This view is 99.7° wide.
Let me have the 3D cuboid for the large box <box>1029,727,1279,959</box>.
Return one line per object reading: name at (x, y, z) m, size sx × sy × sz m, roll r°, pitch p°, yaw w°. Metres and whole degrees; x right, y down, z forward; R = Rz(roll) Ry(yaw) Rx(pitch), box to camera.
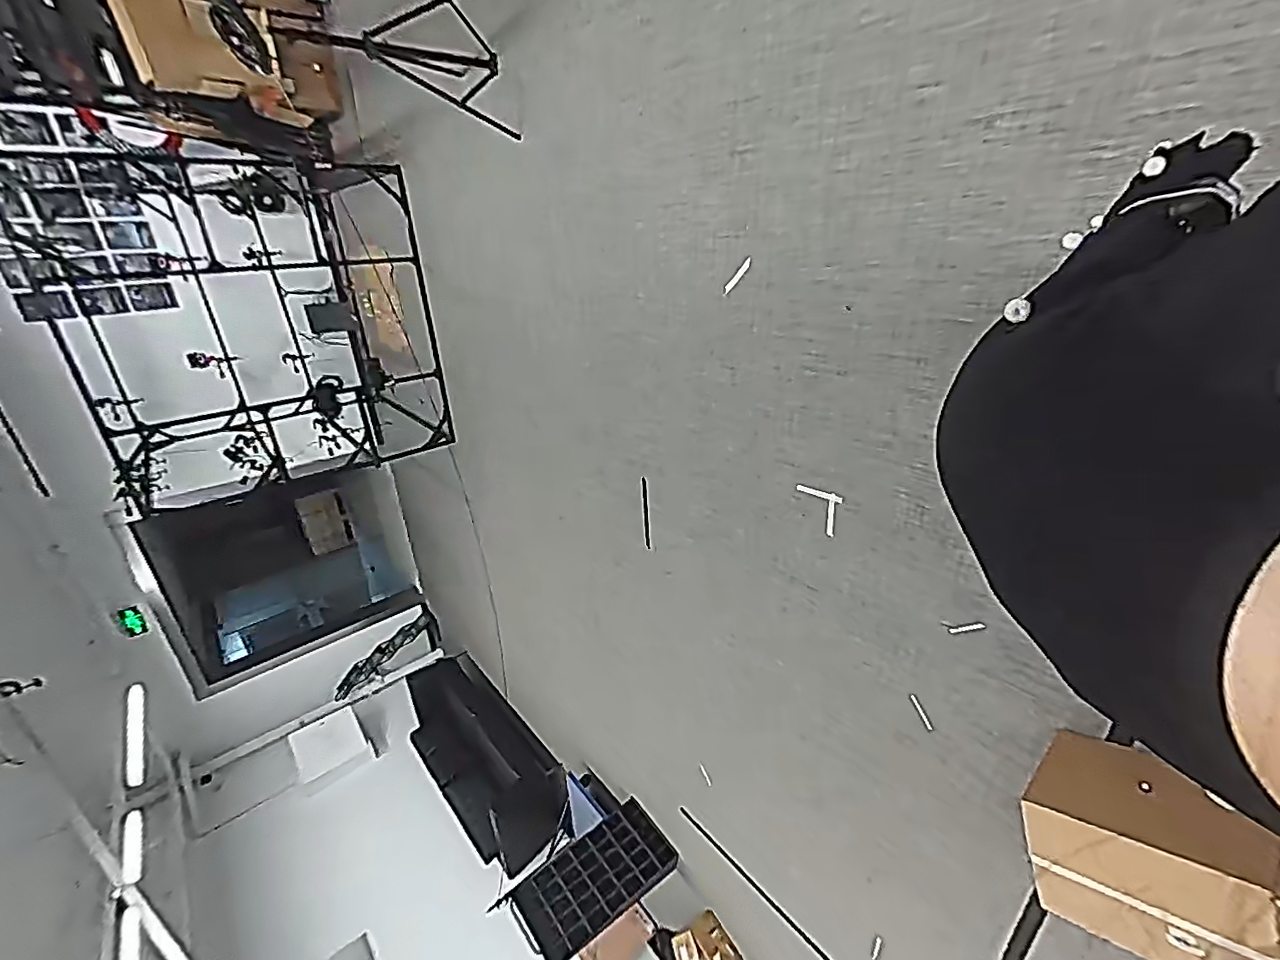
large box at (1.198, 0.835, 1.240) m, size 0.408 × 0.320 × 0.320 m, roll -5°, pitch 103°, yaw 53°
